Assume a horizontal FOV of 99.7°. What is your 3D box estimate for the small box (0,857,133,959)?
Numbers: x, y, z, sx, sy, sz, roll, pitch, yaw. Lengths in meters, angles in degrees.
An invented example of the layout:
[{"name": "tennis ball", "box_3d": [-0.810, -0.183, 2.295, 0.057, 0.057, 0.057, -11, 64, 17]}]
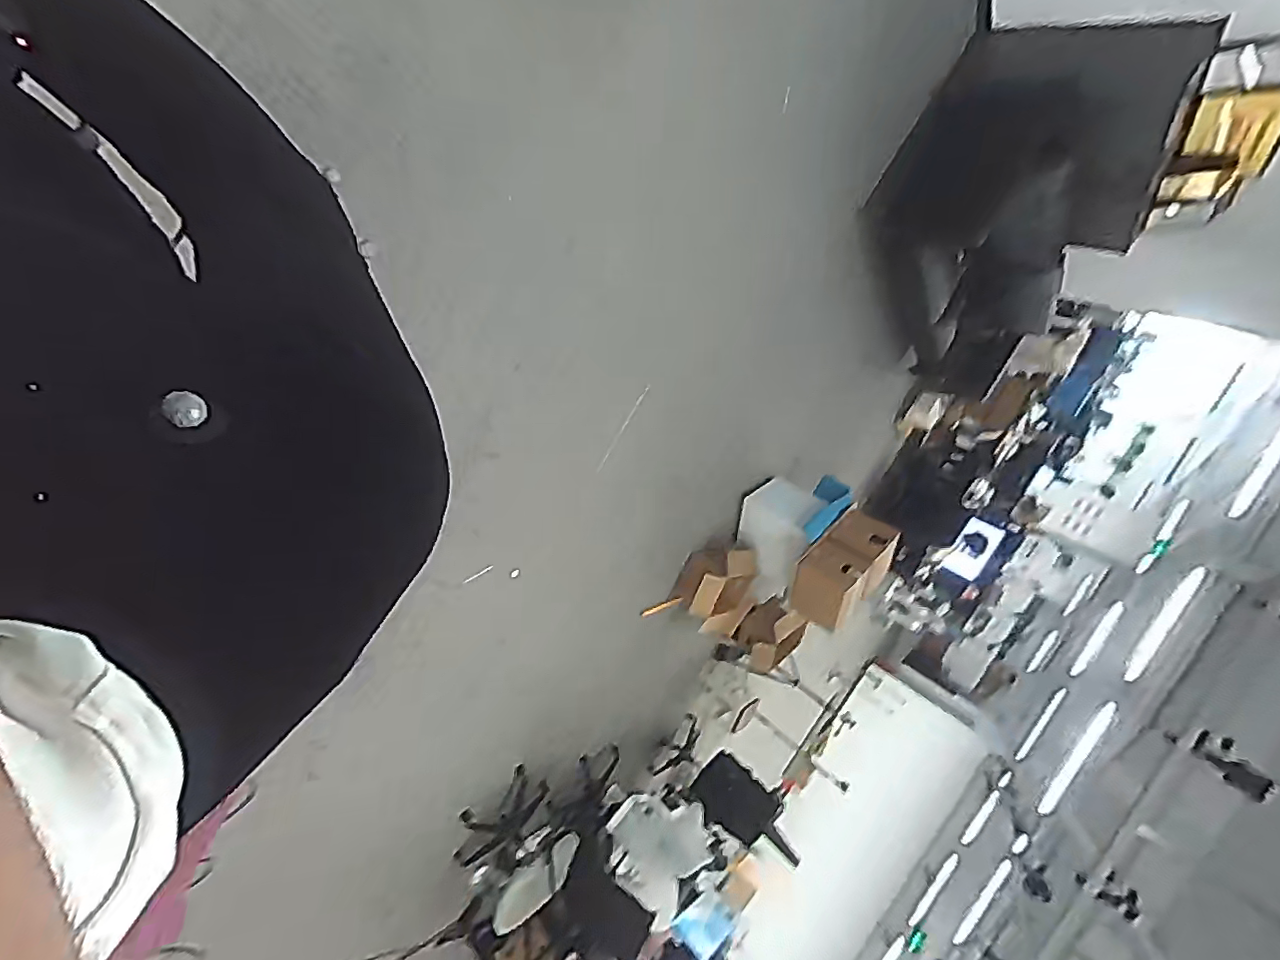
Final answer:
[{"name": "small box", "box_3d": [-0.773, 0.613, 0.656, 0.179, 0.176, 0.168, 23, 97, -56]}]
